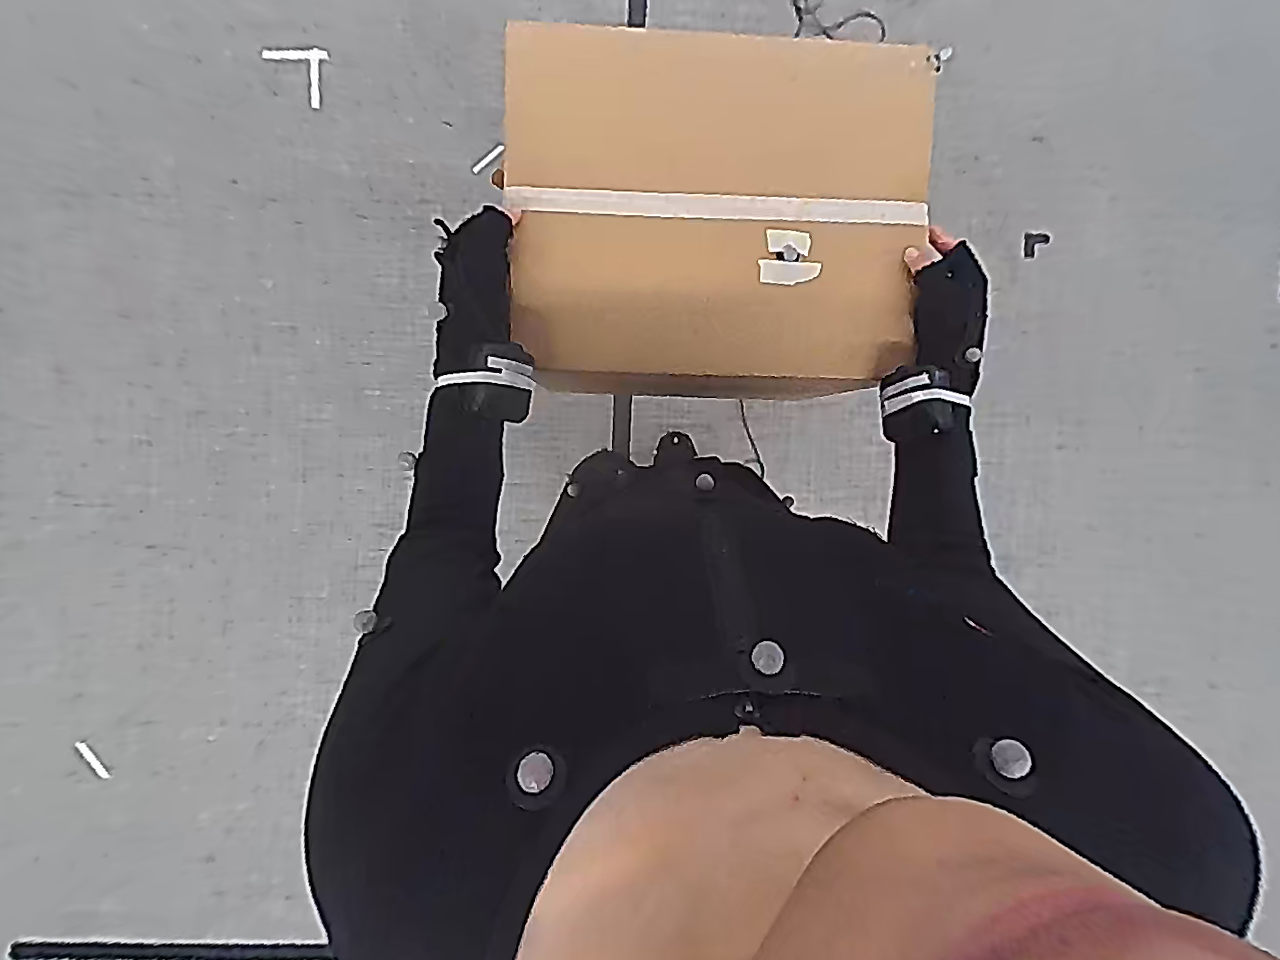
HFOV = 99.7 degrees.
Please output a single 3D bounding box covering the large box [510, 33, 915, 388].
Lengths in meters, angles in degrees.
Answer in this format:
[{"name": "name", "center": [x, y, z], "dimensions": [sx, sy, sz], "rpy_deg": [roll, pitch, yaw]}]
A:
[{"name": "large box", "center": [0.065, -0.286, 0.682], "dimensions": [0.408, 0.320, 0.320], "rpy_deg": [0, 96, -3]}]
